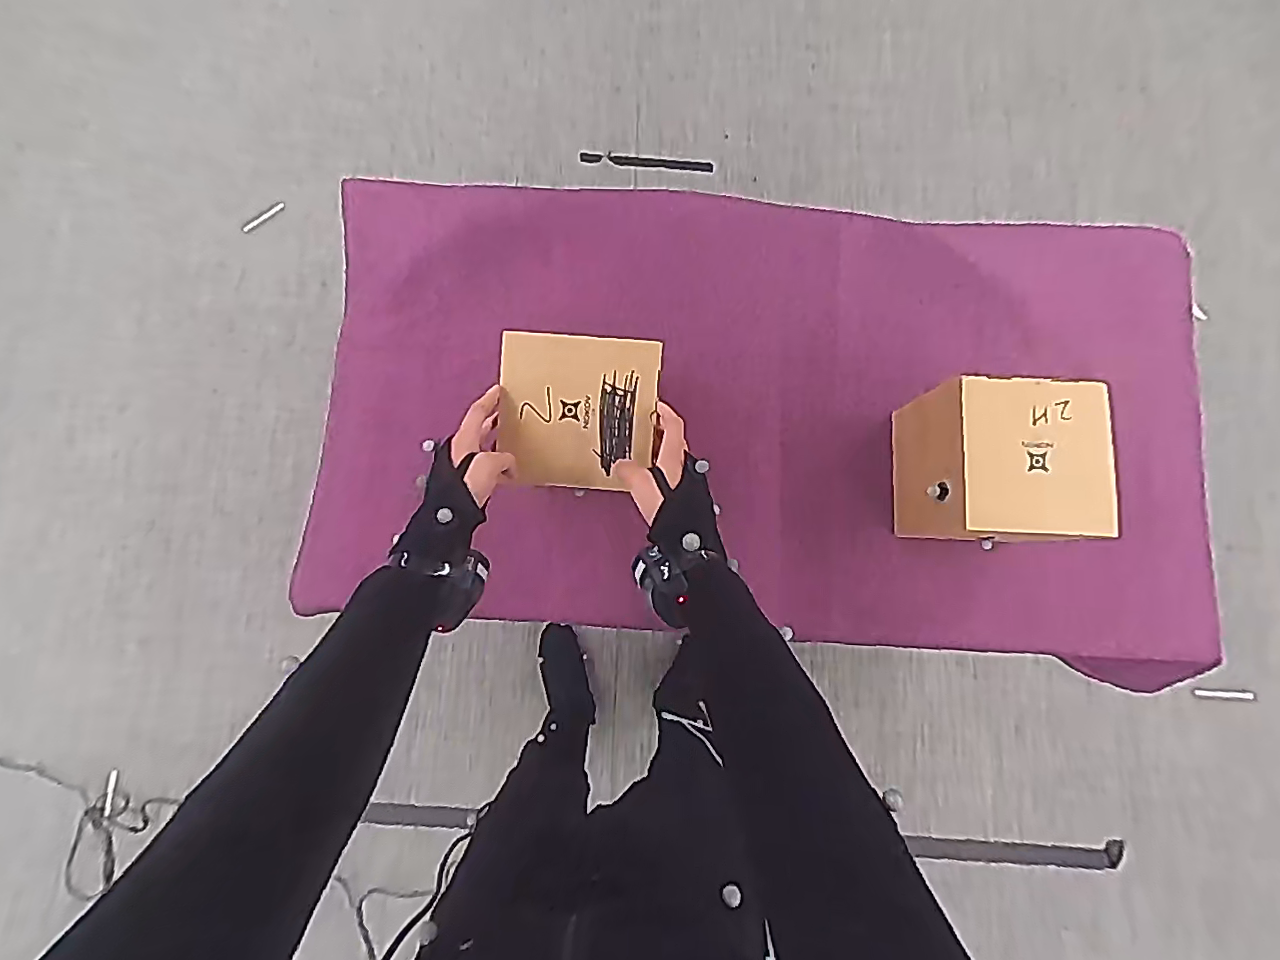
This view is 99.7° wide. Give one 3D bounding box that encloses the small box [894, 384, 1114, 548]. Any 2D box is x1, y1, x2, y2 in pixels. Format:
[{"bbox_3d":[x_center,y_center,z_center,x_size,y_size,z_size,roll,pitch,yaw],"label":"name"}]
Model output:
[{"bbox_3d":[0.435,-0.007,0.673,0.168,0.176,0.179,3,82,0],"label":"small box"}]
